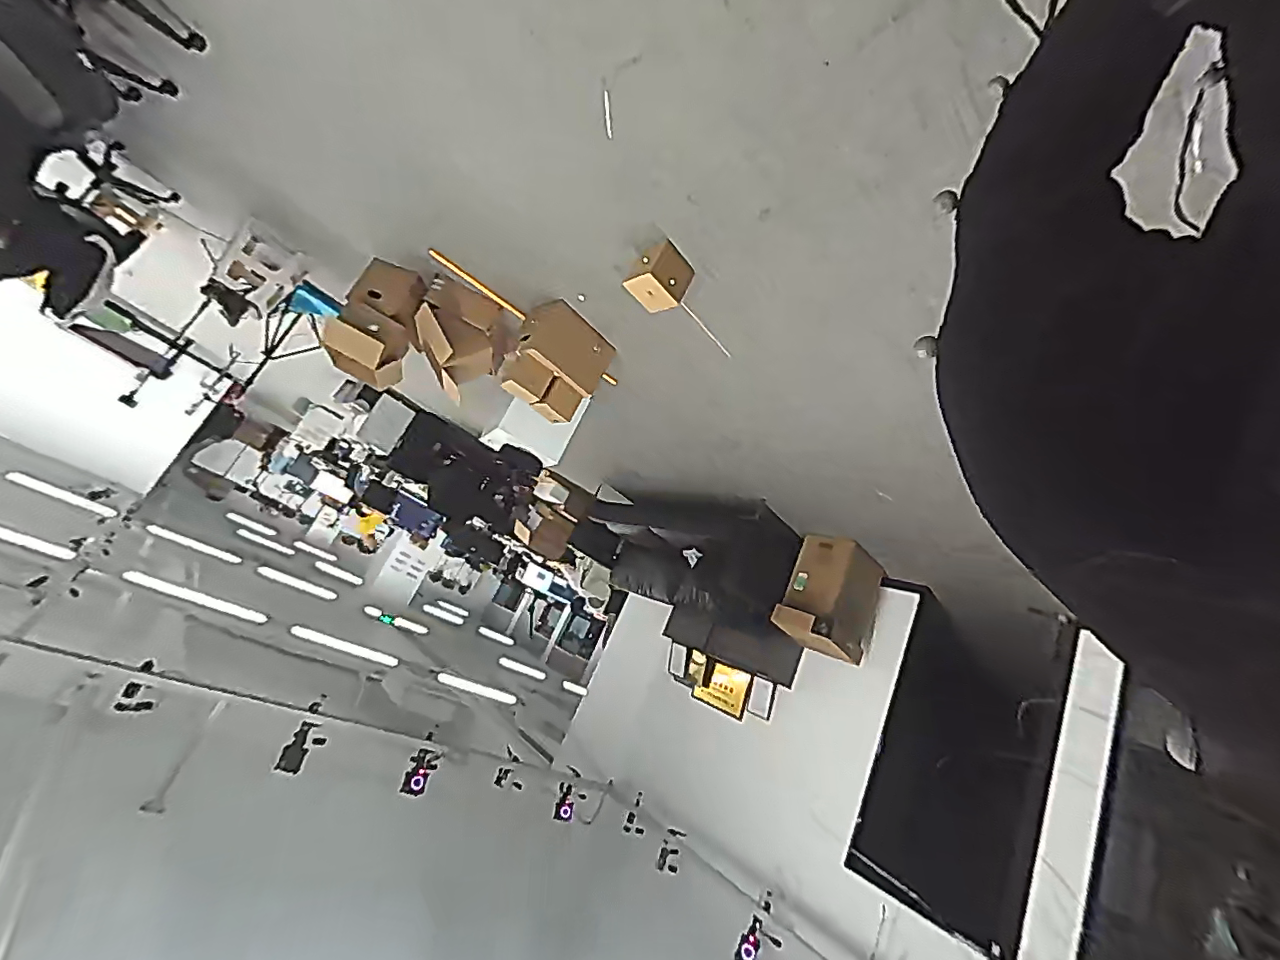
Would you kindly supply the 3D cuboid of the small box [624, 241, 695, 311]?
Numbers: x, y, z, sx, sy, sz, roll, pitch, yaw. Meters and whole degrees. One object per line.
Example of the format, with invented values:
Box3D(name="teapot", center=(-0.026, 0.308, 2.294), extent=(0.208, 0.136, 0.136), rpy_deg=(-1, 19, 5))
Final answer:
Box3D(name="small box", center=(0.076, -0.778, 2.049), extent=(0.179, 0.176, 0.168), rpy_deg=(35, 161, -35))
